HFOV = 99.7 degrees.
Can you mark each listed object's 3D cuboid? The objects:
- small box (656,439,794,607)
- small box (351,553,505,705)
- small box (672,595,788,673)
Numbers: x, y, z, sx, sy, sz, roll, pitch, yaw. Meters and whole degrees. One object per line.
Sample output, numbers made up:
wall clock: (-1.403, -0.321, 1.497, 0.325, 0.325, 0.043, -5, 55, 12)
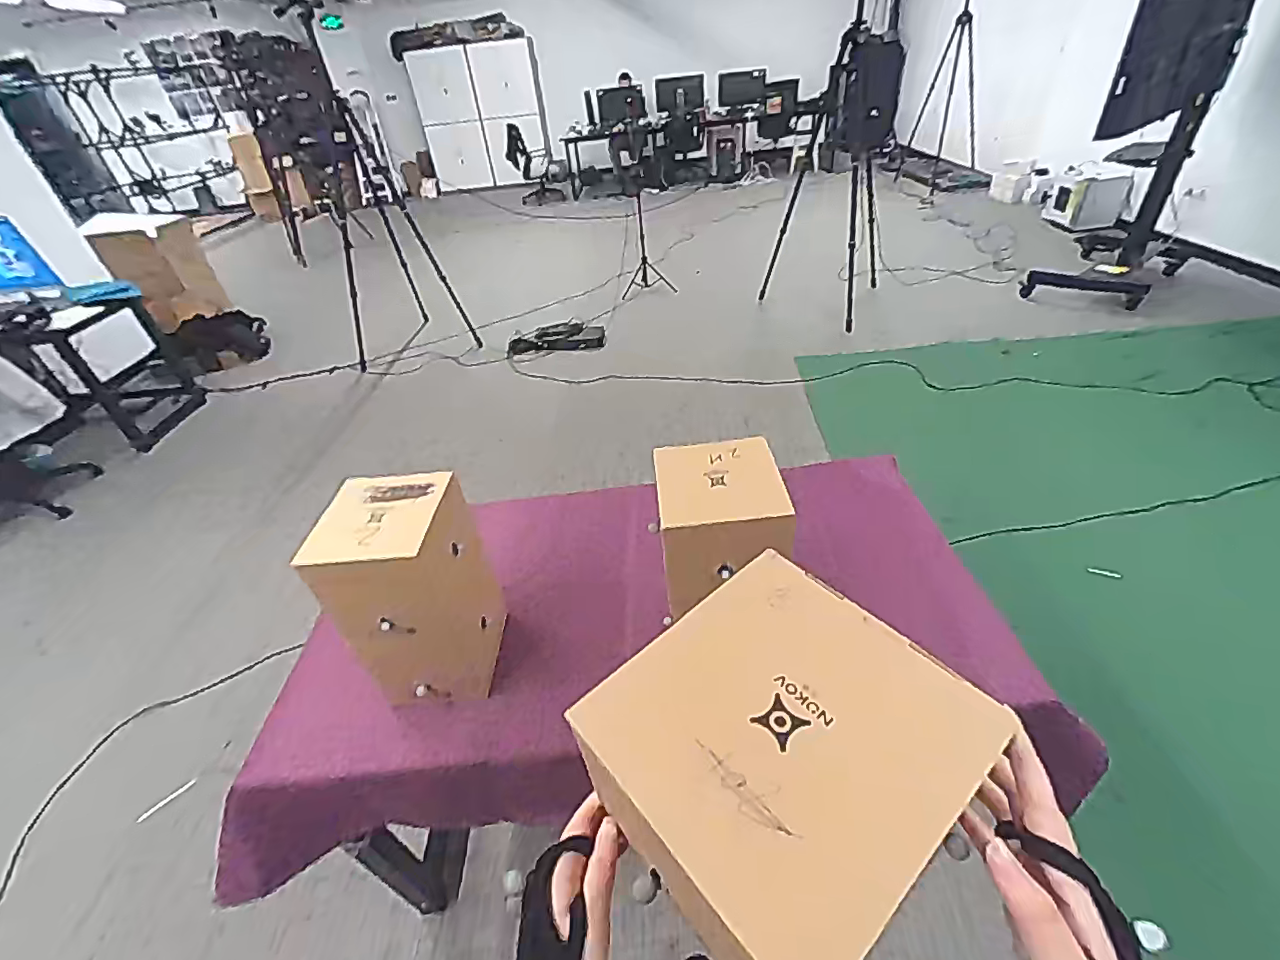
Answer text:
small box: (0.114, 0.065, 0.769, 0.168, 0.176, 0.179, -6, 38, 2)
small box: (-0.329, 0.242, 0.885, 0.168, 0.176, 0.179, -5, 39, 3)
small box: (0.135, 0.195, 0.871, 0.168, 0.176, 0.179, -5, 39, 2)
